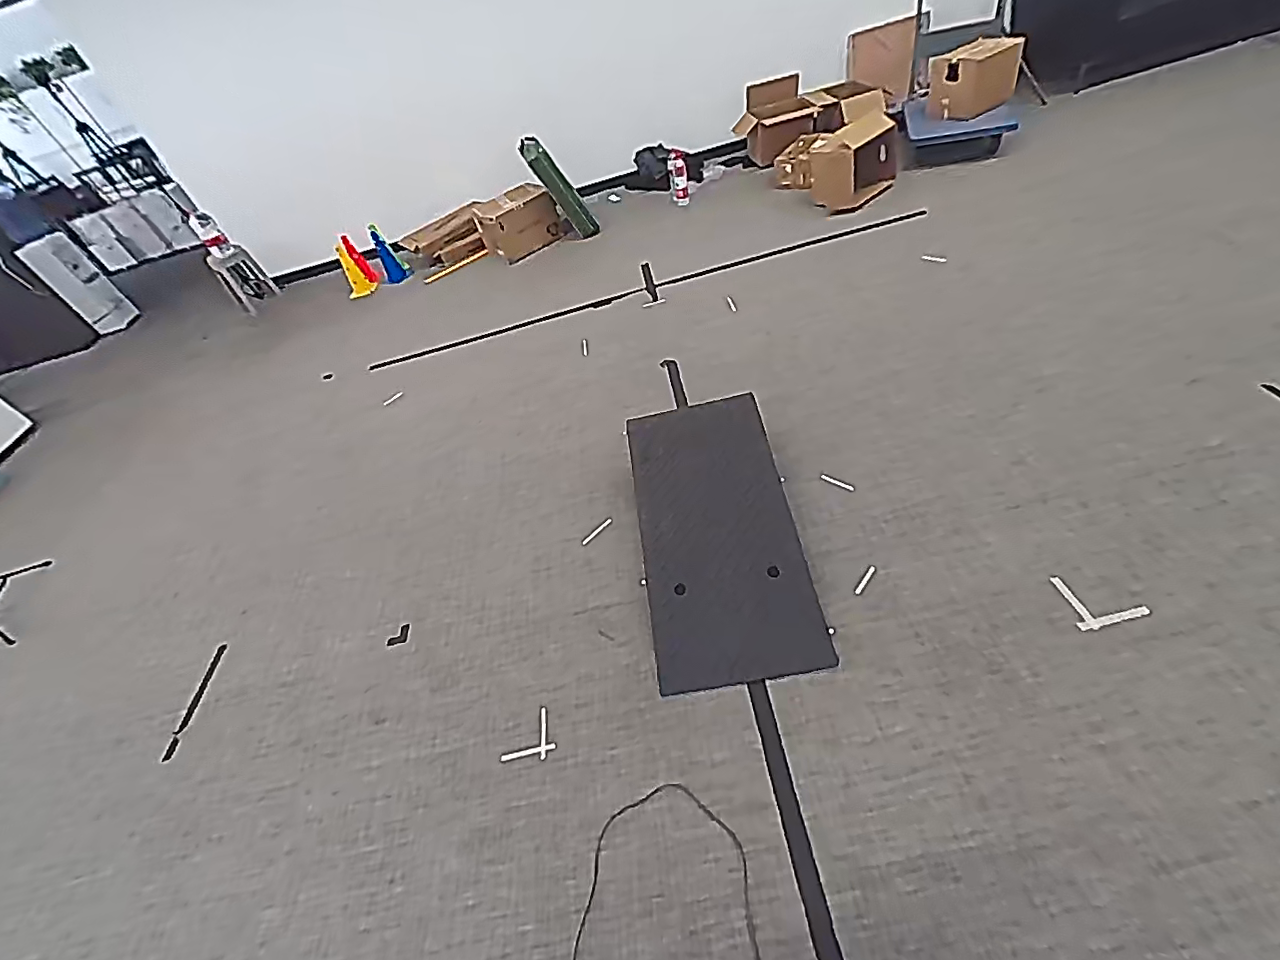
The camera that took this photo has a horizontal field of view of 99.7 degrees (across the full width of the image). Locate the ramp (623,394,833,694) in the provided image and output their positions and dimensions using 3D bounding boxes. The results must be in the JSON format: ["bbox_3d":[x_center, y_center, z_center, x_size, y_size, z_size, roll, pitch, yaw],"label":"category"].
[{"bbox_3d":[0.232,0.139,1.756,0.509,0.206,0.991,-13,45,4],"label":"ramp"}]
